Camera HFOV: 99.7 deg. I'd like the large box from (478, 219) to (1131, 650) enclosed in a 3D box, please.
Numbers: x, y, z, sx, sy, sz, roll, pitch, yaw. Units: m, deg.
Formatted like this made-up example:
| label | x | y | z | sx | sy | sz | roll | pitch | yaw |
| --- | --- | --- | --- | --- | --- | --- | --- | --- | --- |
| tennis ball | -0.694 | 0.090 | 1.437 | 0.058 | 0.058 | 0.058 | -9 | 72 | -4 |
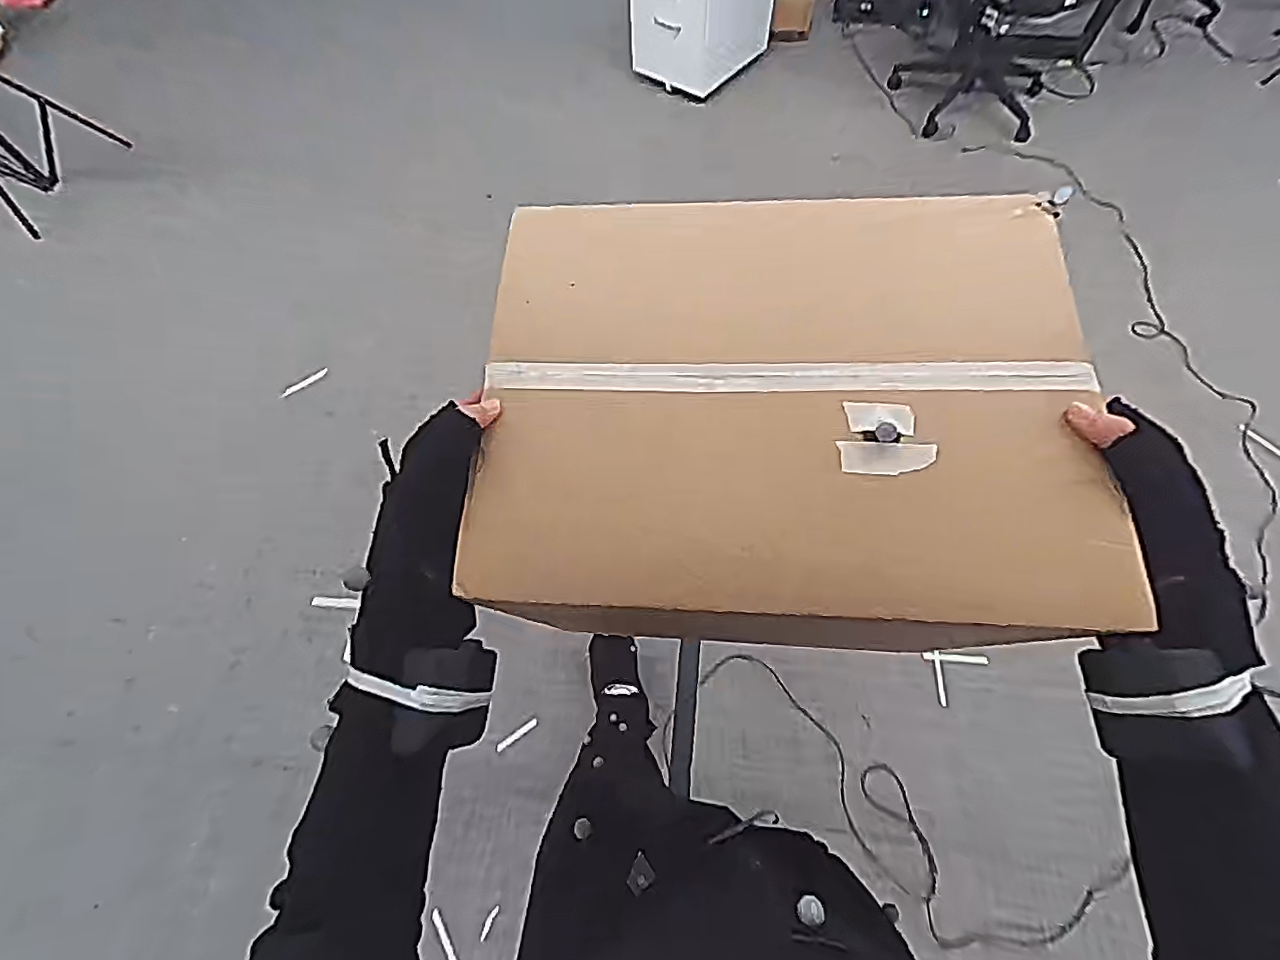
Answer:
| label | x | y | z | sx | sy | sz | roll | pitch | yaw |
| --- | --- | --- | --- | --- | --- | --- | --- | --- | --- |
| large box | 0.107 | -0.009 | 0.520 | 0.408 | 0.320 | 0.320 | 1 | 71 | 5 |
